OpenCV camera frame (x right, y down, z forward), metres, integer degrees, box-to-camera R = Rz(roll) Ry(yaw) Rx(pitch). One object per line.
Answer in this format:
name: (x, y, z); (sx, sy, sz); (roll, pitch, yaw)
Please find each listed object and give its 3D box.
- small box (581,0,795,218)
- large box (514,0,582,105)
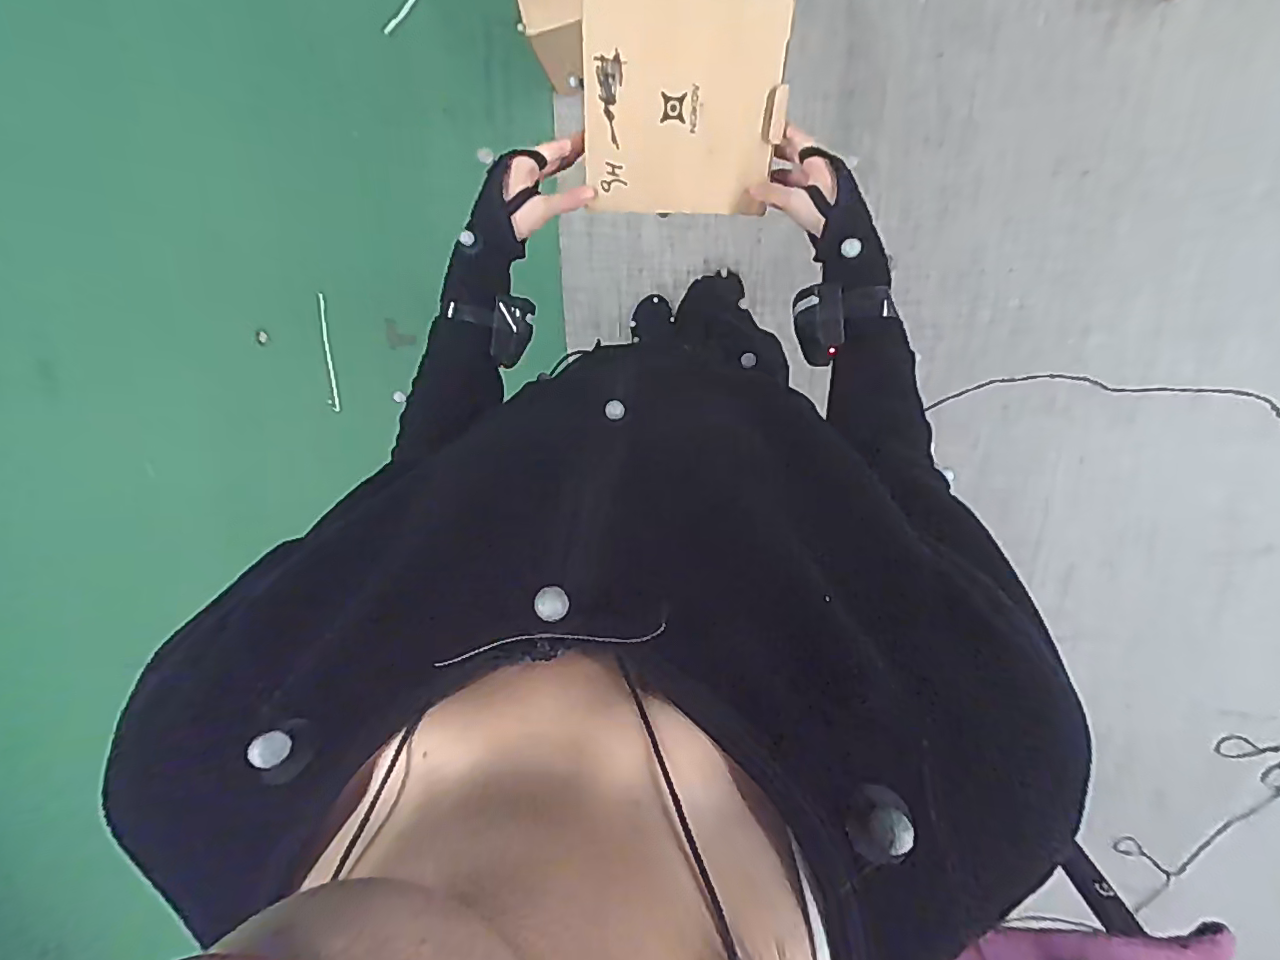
small box: (0.030, -0.365, 0.539); (0.179, 0.176, 0.168); (0, 121, -4)
large box: (-0.040, -1.017, 1.065); (0.408, 0.320, 0.320); (-12, 105, 8)
